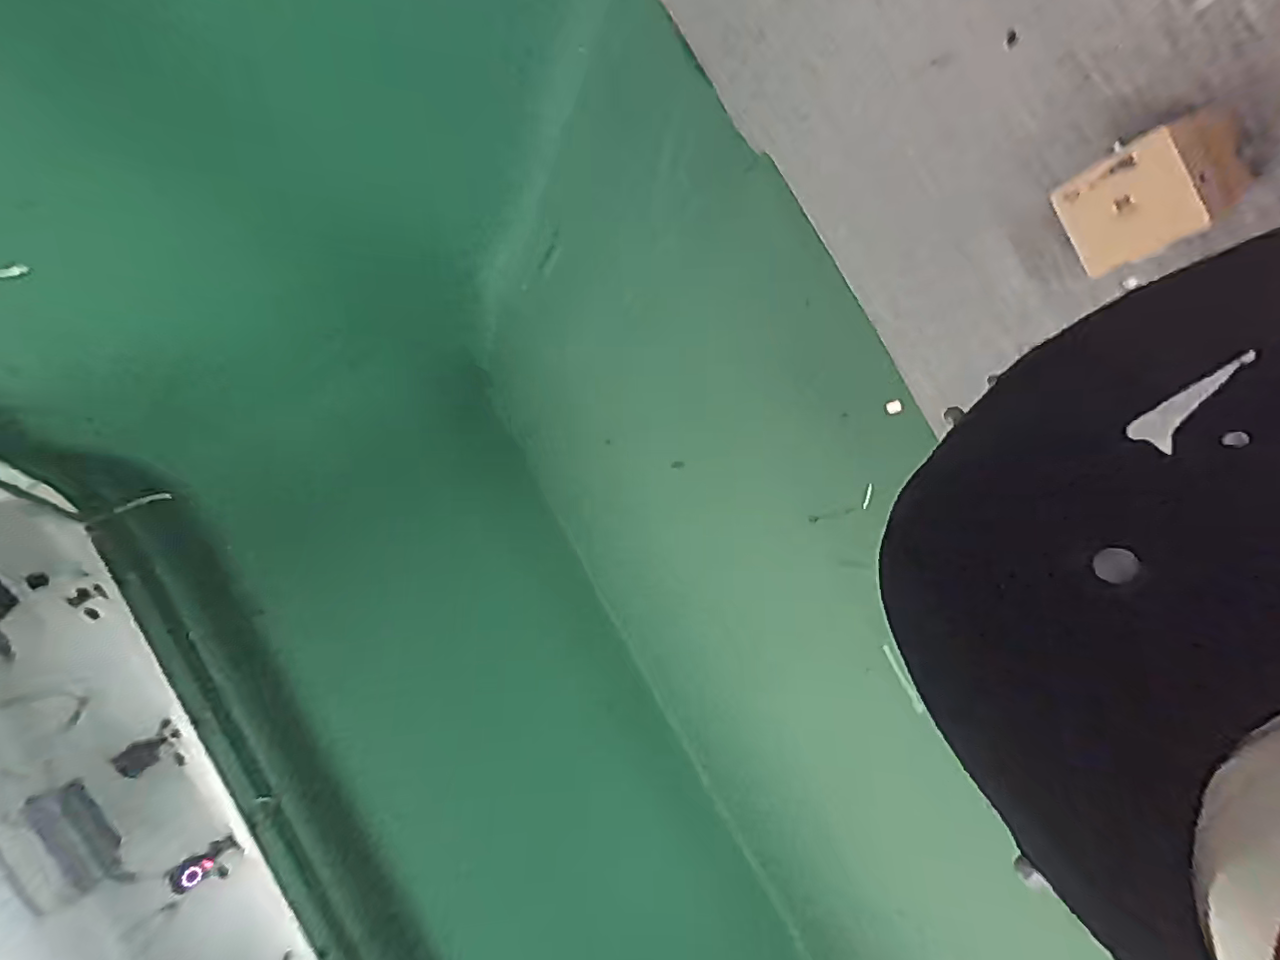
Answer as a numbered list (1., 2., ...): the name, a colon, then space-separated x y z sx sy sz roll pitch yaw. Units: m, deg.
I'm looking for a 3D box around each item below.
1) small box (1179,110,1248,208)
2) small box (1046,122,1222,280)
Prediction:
1. small box: 0.993 -0.563 1.029 0.179 0.176 0.168 -21 97 59
2. small box: 0.869 -0.490 0.950 0.179 0.176 0.168 61 150 -4
